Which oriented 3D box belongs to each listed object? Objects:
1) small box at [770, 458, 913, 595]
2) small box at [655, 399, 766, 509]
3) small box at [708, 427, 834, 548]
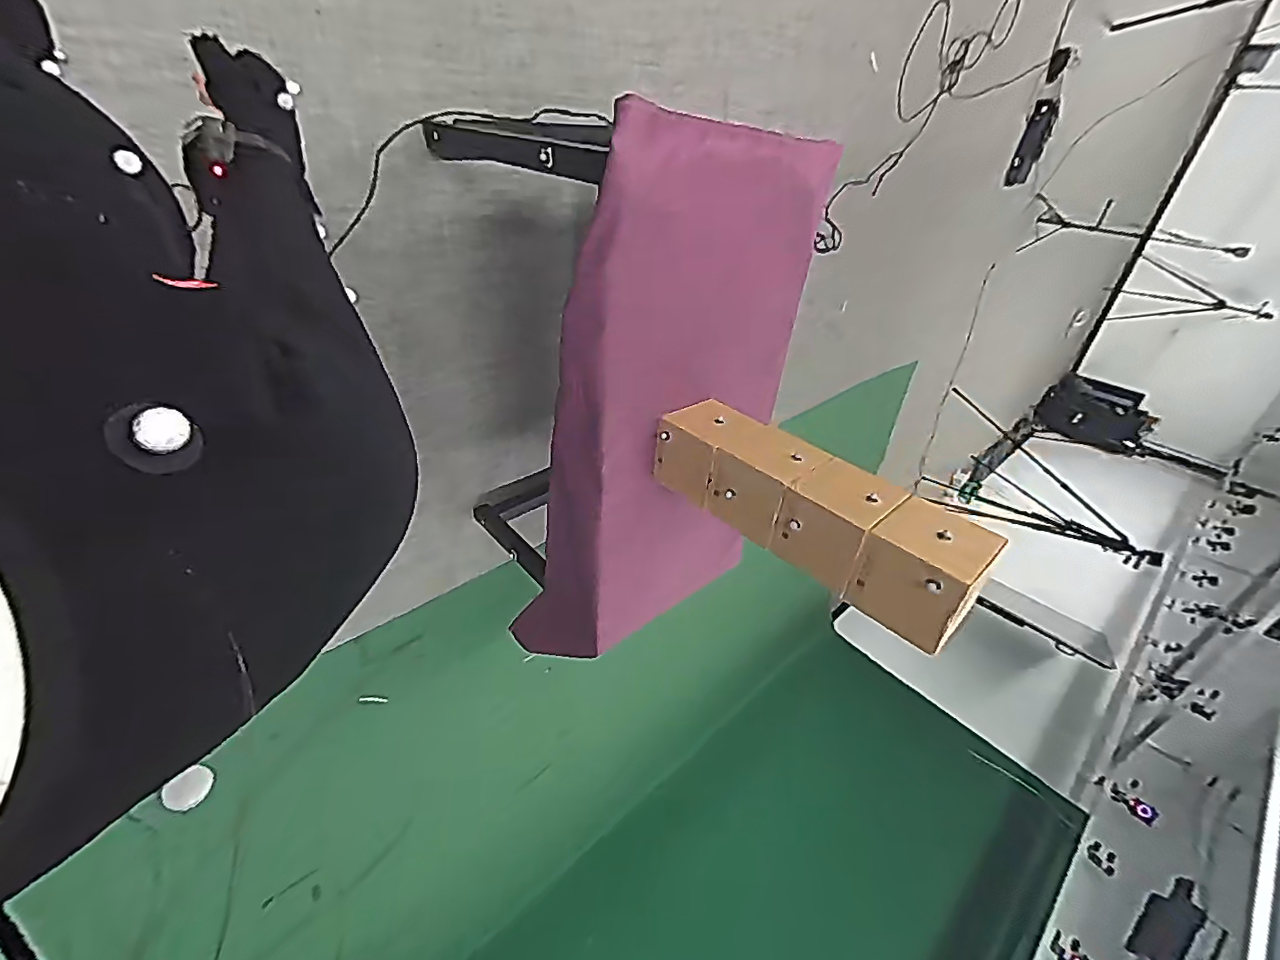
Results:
[{"bbox_3d":[0.380,0.079,1.036,0.179,0.176,0.168,-24,133,-35],"label":"small box"},{"bbox_3d":[0.153,-0.065,1.224,0.179,0.176,0.168,-24,133,-36],"label":"small box"},{"bbox_3d":[0.268,0.006,1.130,0.179,0.176,0.168,-23,132,-35],"label":"small box"}]
